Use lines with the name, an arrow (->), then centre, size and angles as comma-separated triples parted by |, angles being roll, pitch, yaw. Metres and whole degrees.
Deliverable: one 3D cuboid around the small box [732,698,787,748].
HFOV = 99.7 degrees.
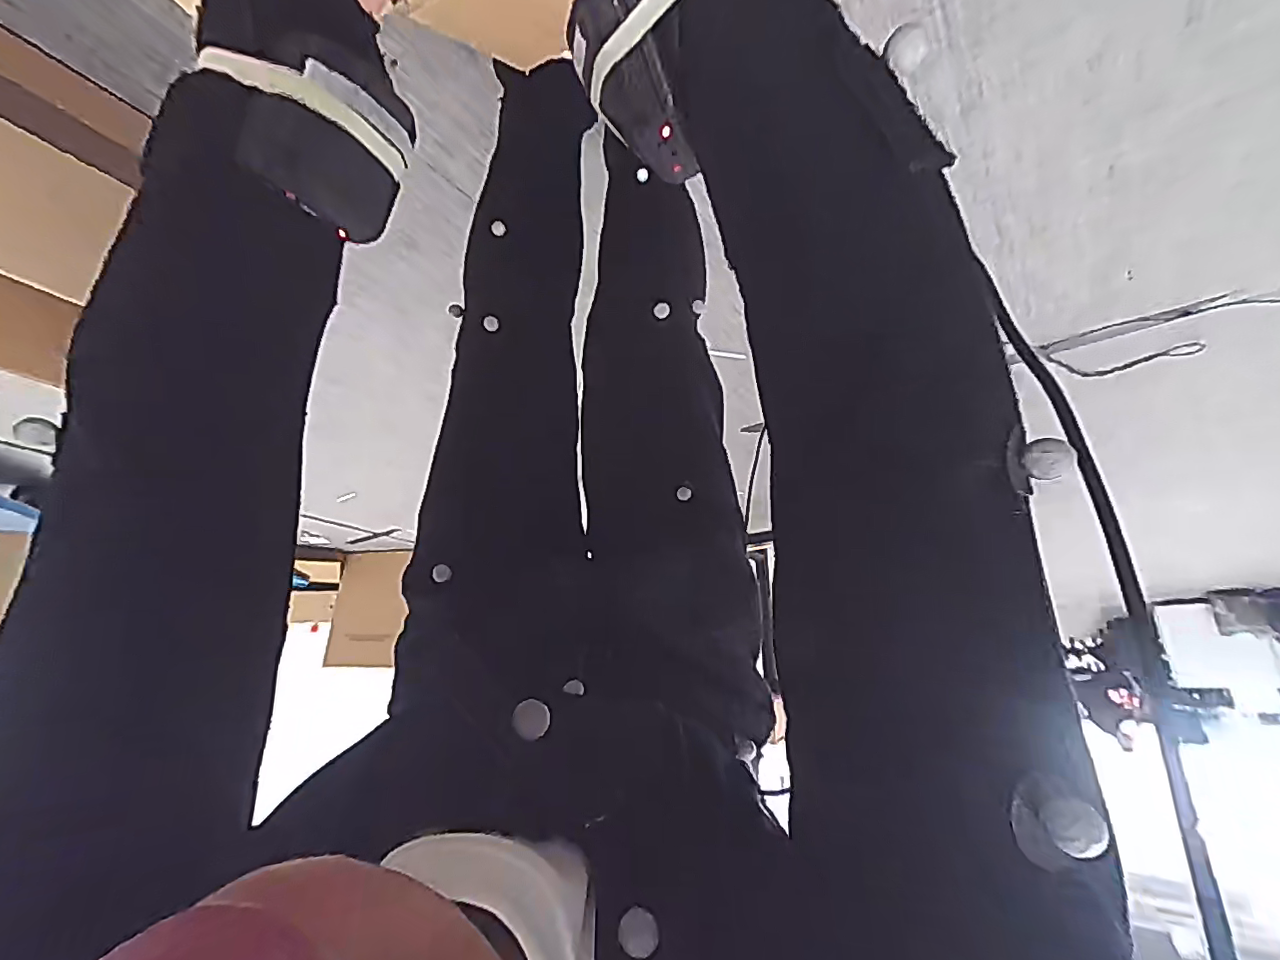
small box -> 0.486, 0.989, 2.208 | 0.179, 0.176, 0.168 | -12, 156, 29
